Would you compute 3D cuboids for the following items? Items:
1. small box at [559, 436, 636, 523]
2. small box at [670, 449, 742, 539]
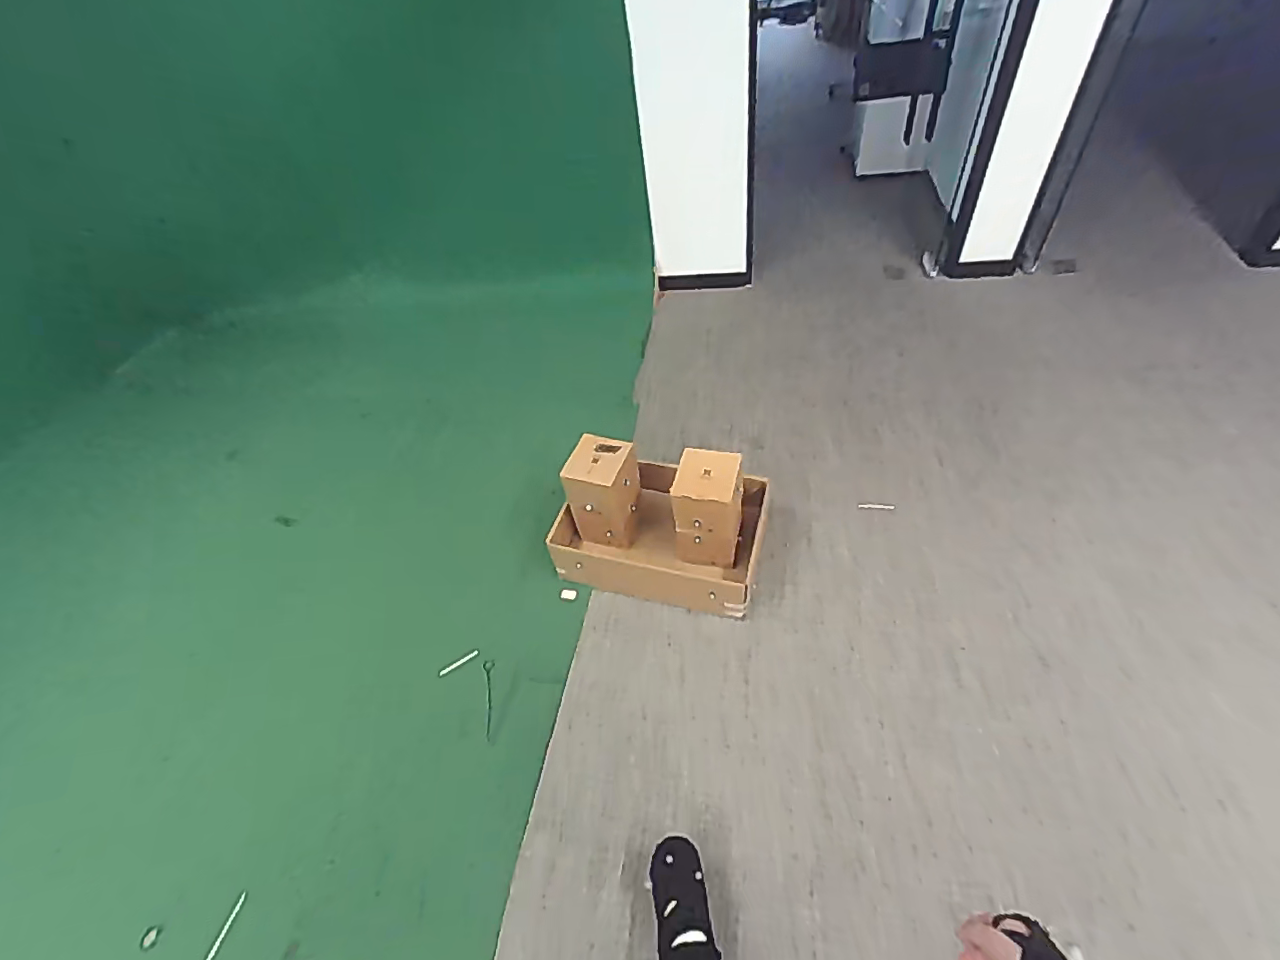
[{"bbox_3d":[-0.118,-0.002,1.619,0.168,0.176,0.179,12,53,19],"label":"small box"},{"bbox_3d":[0.190,0.040,1.524,0.168,0.176,0.179,7,52,17],"label":"small box"}]
